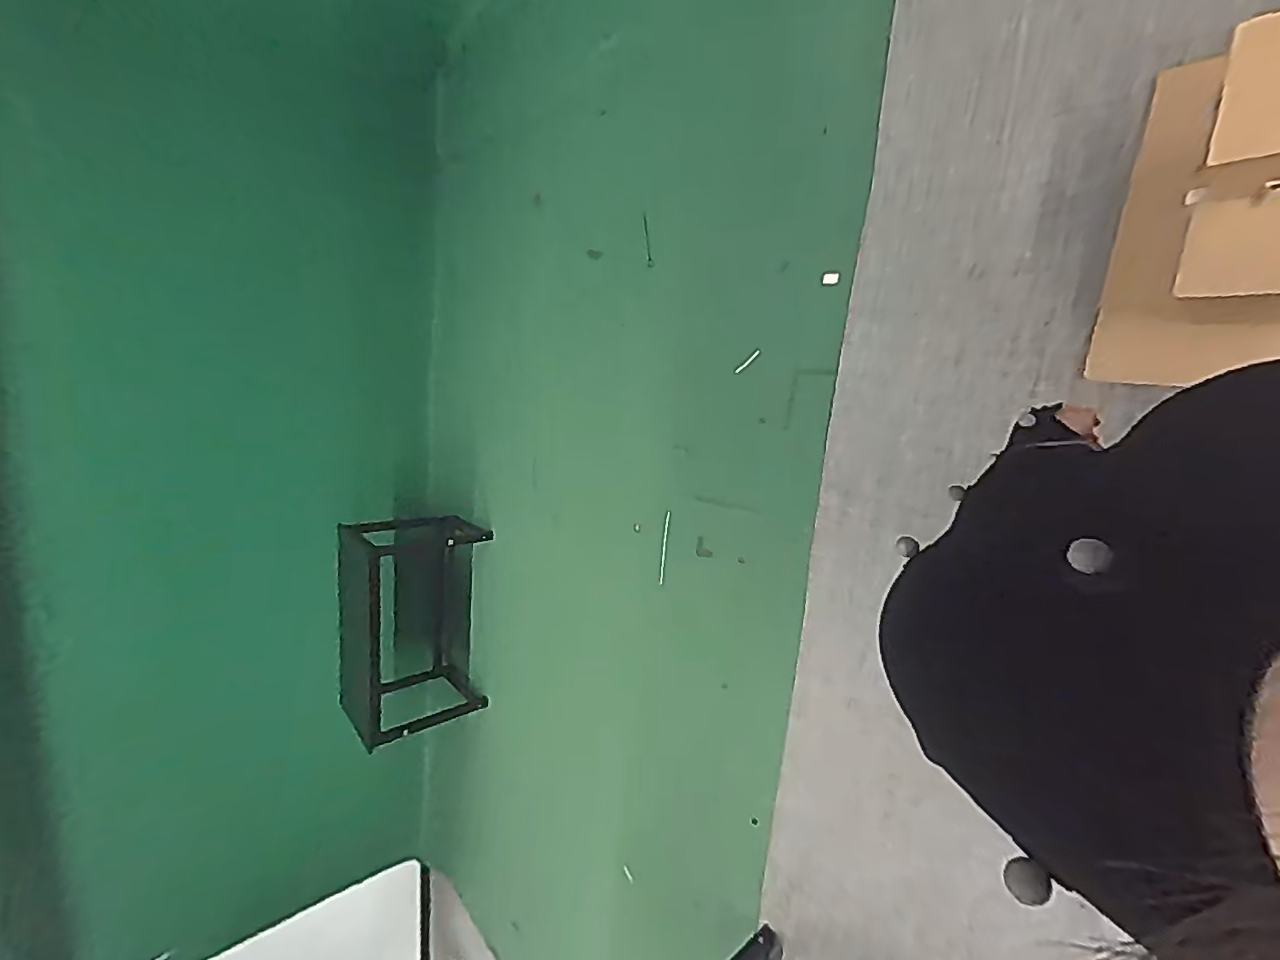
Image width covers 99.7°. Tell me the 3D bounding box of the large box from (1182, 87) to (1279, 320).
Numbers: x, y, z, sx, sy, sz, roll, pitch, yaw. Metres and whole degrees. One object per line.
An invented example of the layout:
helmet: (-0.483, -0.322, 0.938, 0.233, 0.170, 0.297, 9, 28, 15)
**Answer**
large box: (1.113, -0.425, 0.799, 0.408, 0.320, 0.320, 14, 104, 46)

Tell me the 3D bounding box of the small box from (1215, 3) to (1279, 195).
small box: (0.874, -0.498, 0.695, 0.168, 0.176, 0.179, 12, 102, 48)
